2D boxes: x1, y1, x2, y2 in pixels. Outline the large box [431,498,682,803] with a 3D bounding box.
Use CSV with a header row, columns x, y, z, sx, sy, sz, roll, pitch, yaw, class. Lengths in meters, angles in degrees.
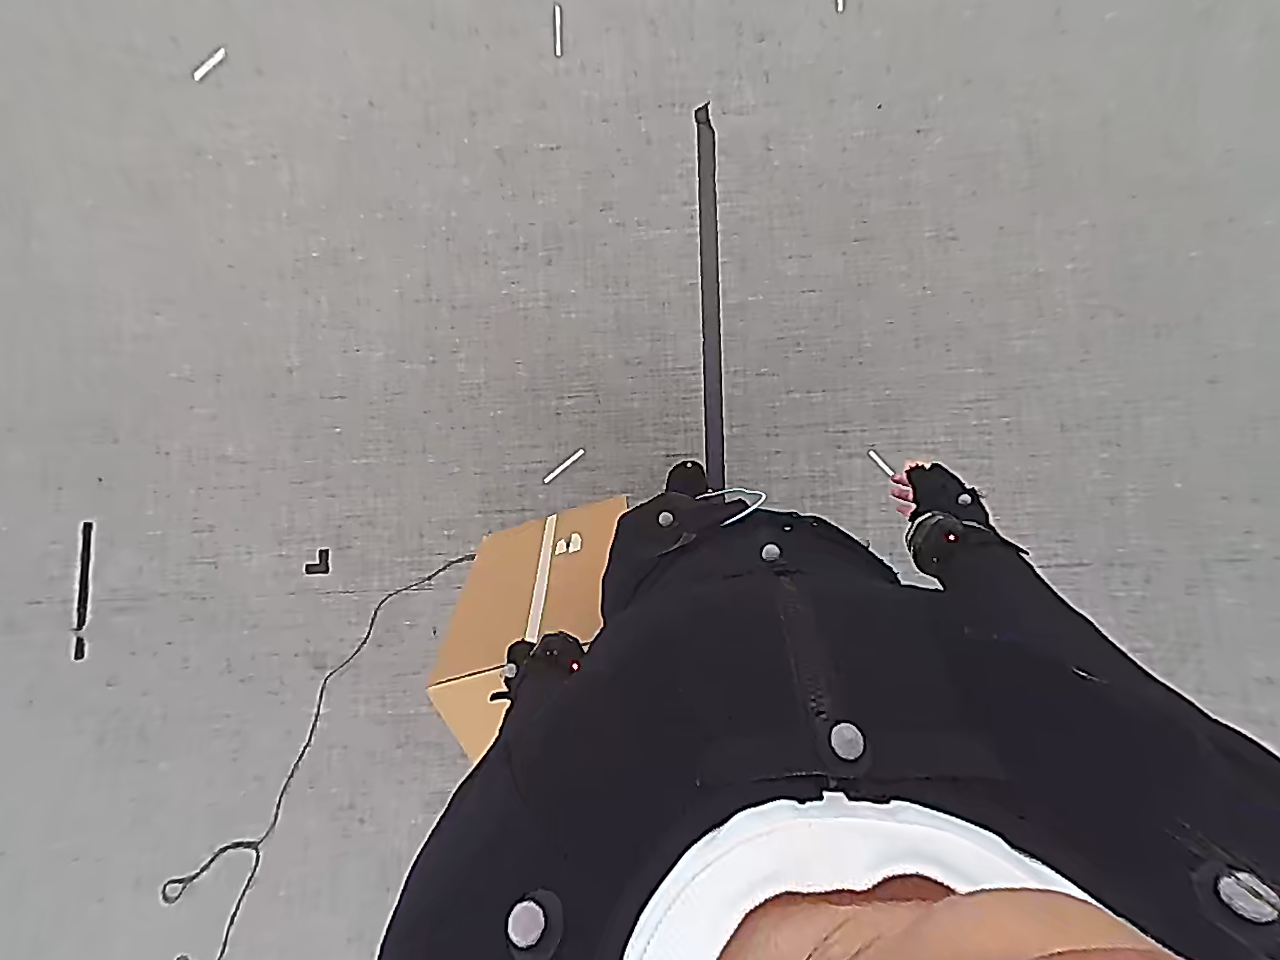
x,y,z,sx,sy,sz,roll,pitch,yaw,class
-0.126,0.292,1.006,0.320,0.408,0.320,-15,115,5,large box
